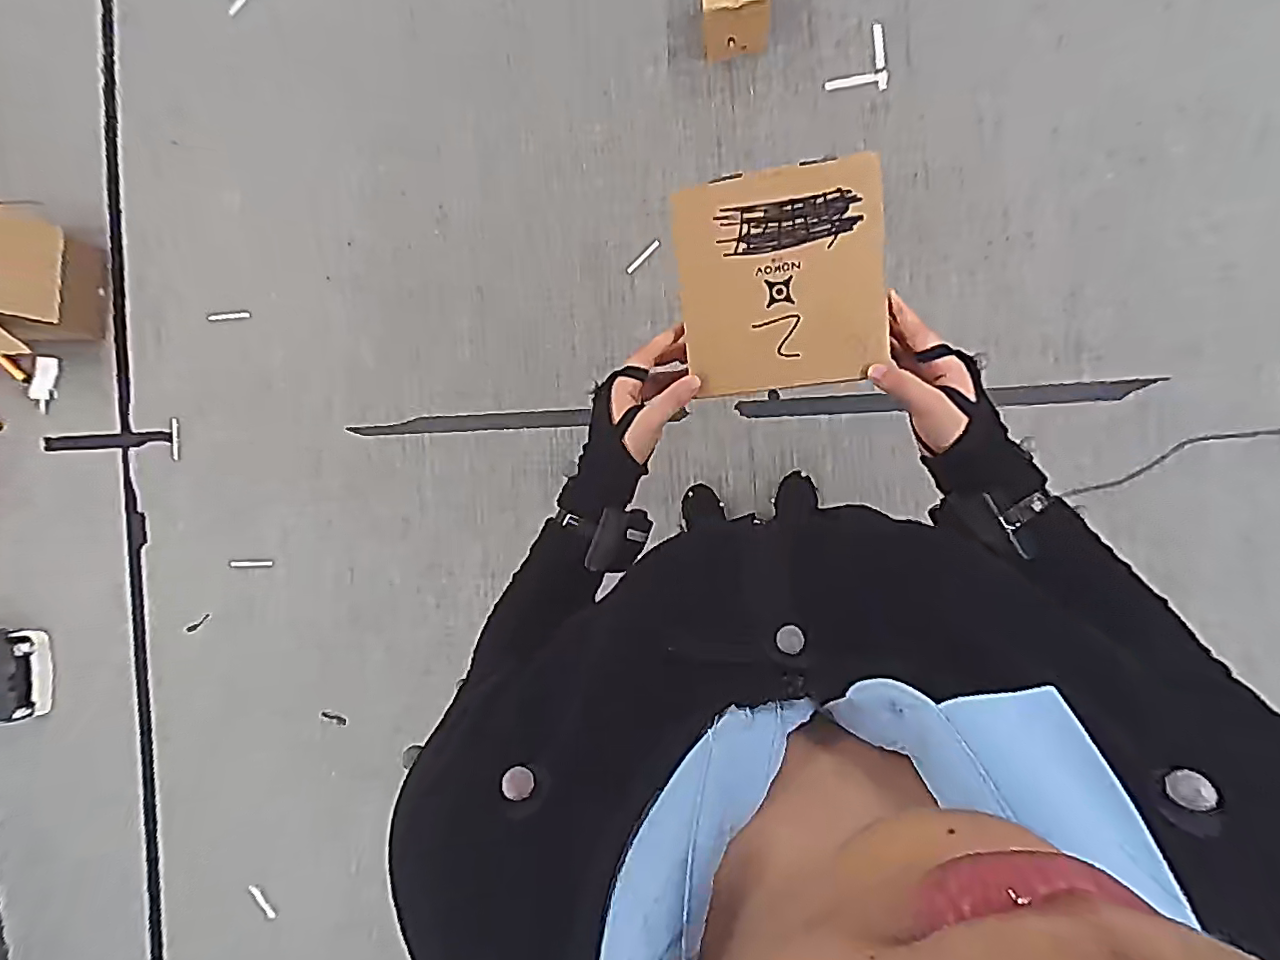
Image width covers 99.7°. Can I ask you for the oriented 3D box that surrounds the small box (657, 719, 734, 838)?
[{"bbox_3d":[0.130,0.675,1.238,0.168,0.176,0.179,0,90,8],"label":"small box"}]

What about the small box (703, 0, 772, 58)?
[{"bbox_3d":[0.248,-1.257,1.405,0.168,0.176,0.179,-5,90,9],"label":"small box"}]
